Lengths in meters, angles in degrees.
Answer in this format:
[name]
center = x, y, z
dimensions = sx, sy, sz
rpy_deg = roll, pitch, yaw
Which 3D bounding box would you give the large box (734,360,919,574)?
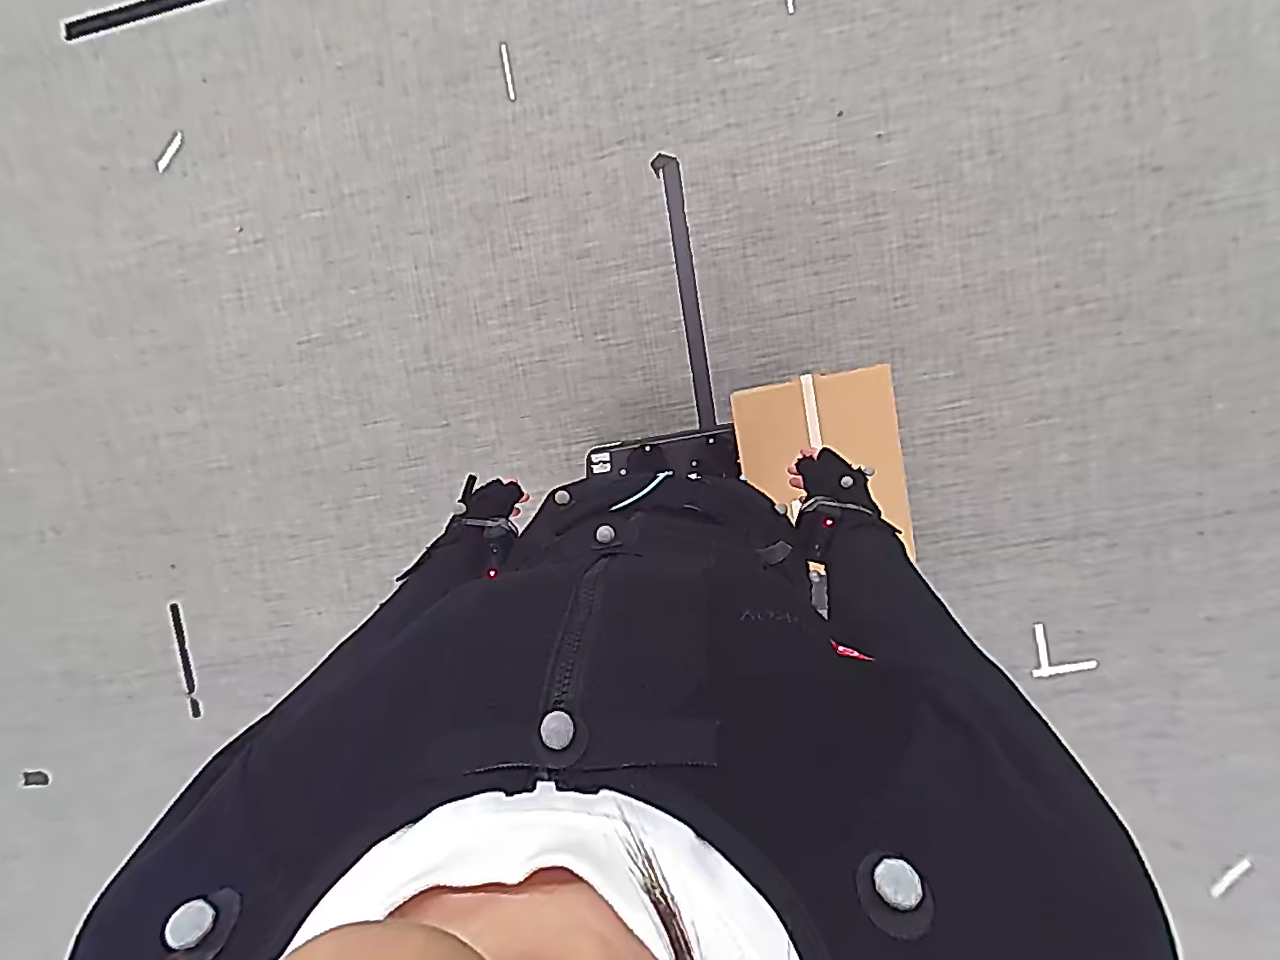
[large box]
center = 0.408, -0.038, 1.245
dimensions = 0.320, 0.320, 0.408
rpy_deg = -9, 96, 14
